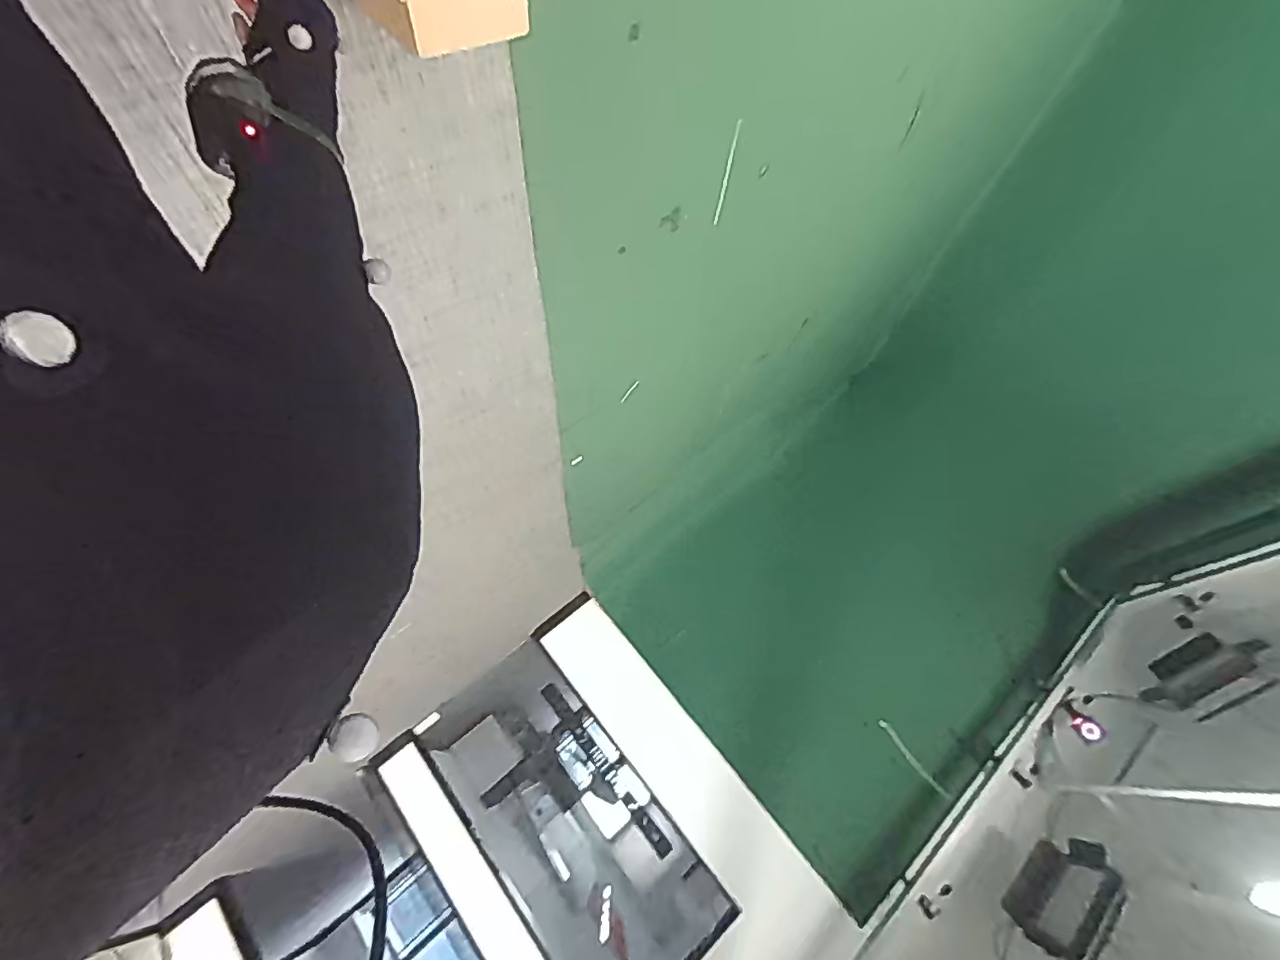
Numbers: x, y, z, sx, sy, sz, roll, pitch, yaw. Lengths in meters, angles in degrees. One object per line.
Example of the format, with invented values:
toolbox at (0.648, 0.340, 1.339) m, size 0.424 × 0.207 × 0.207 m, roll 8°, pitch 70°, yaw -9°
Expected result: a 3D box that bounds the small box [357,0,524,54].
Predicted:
small box at (-0.270, -0.682, 0.682) m, size 0.179 × 0.176 × 0.168 m, roll -33°, pitch 159°, yaw -24°
